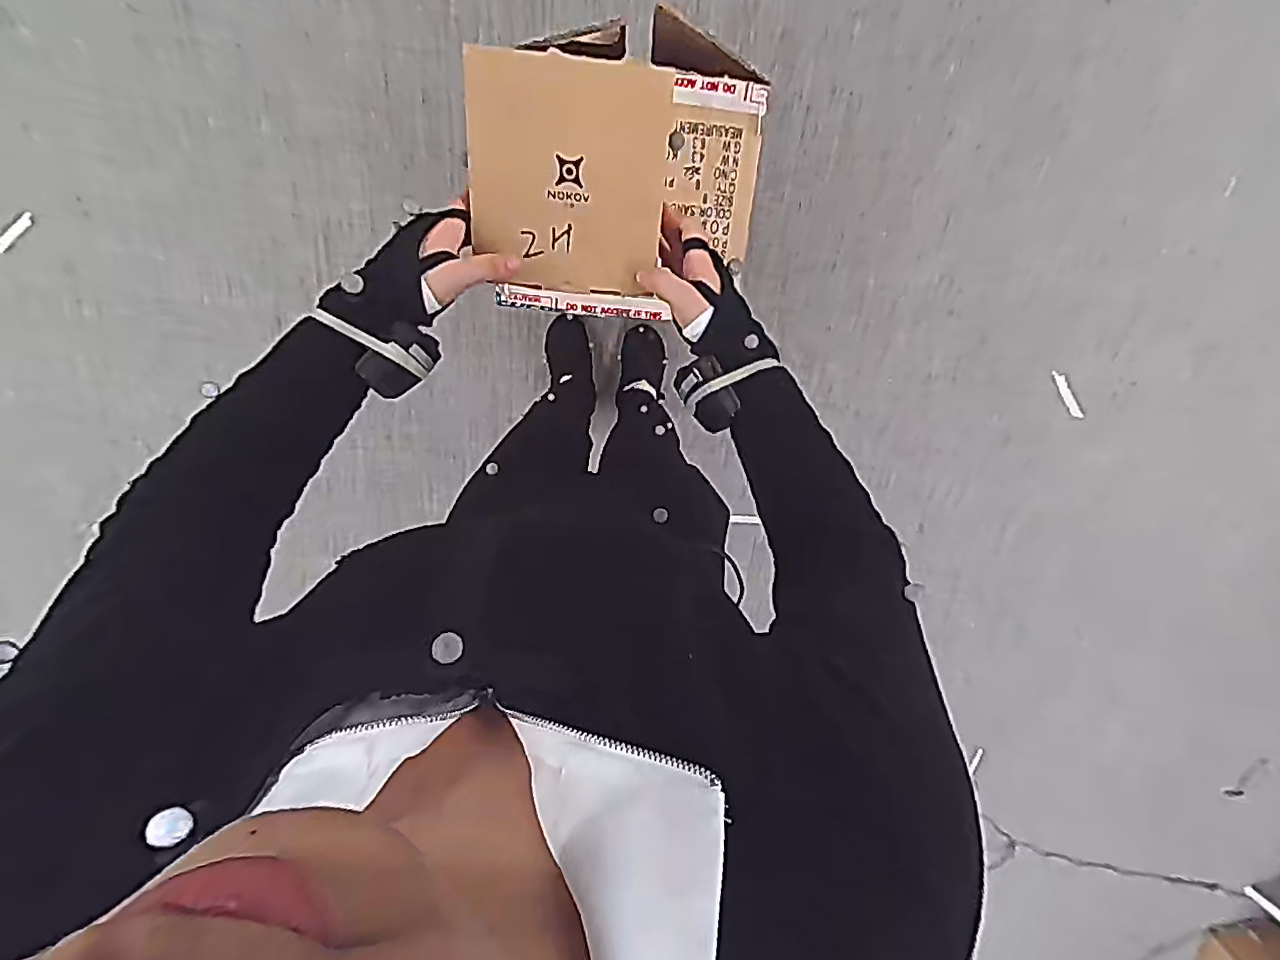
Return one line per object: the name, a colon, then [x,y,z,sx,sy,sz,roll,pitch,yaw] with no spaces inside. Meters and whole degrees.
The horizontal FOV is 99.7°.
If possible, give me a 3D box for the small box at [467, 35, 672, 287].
small box: [-0.069,-0.299,0.534,0.168,0.176,0.179,3,117,-6]
